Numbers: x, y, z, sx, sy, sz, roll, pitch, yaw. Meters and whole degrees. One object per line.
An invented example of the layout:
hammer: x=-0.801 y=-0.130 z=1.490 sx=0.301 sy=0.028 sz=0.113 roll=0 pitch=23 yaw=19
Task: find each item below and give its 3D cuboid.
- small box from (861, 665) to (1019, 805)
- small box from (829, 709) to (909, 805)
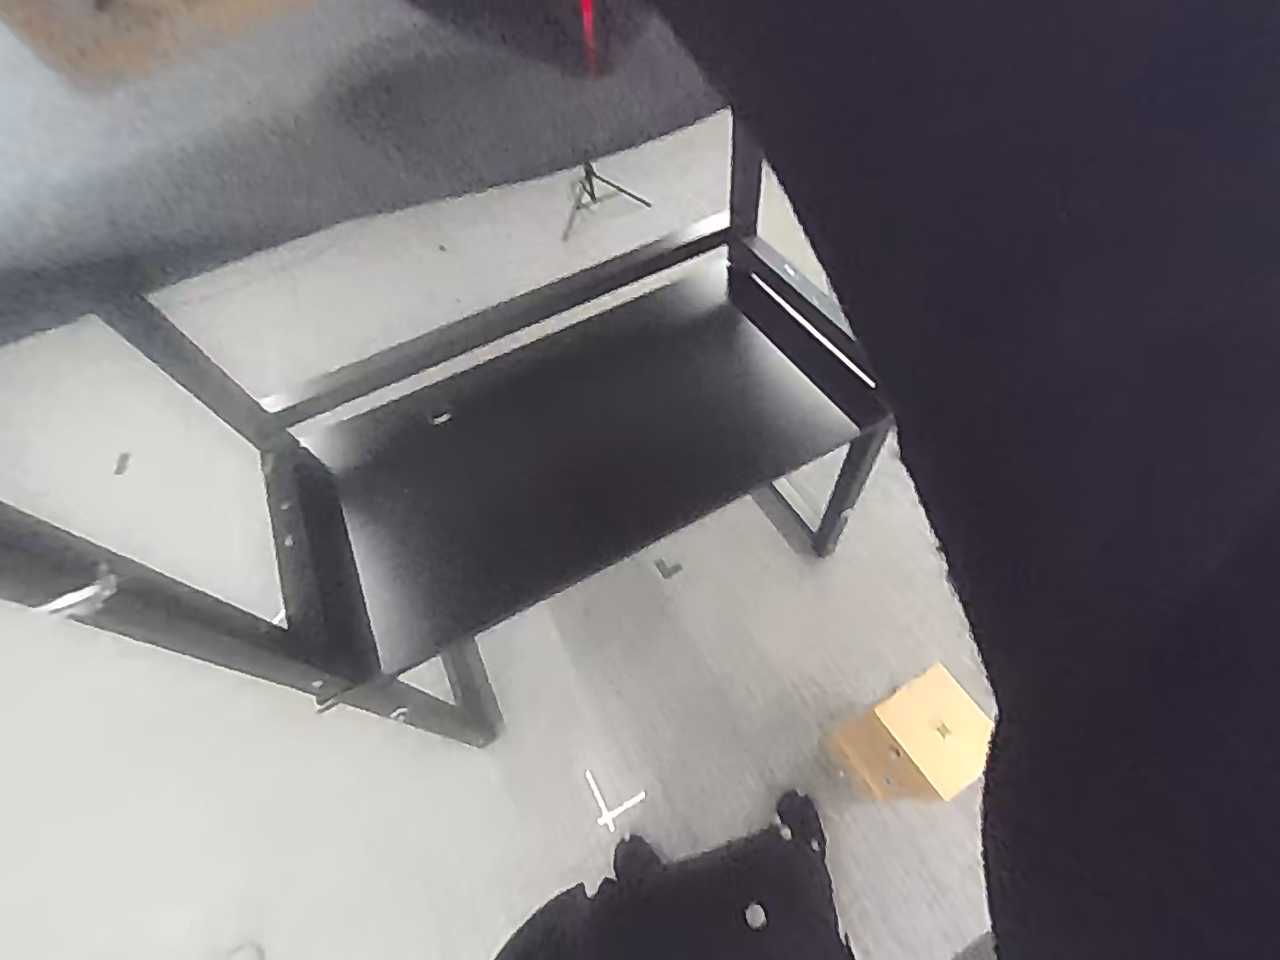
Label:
small box: x=0.559 y=0.489 z=1.035 sx=0.168 sy=0.176 sz=0.179 roll=-30 pitch=59 yaw=-11
small box: x=0.588 y=0.661 z=1.312 sx=0.179 sy=0.176 sz=0.168 roll=-28 pitch=58 yaw=-10
